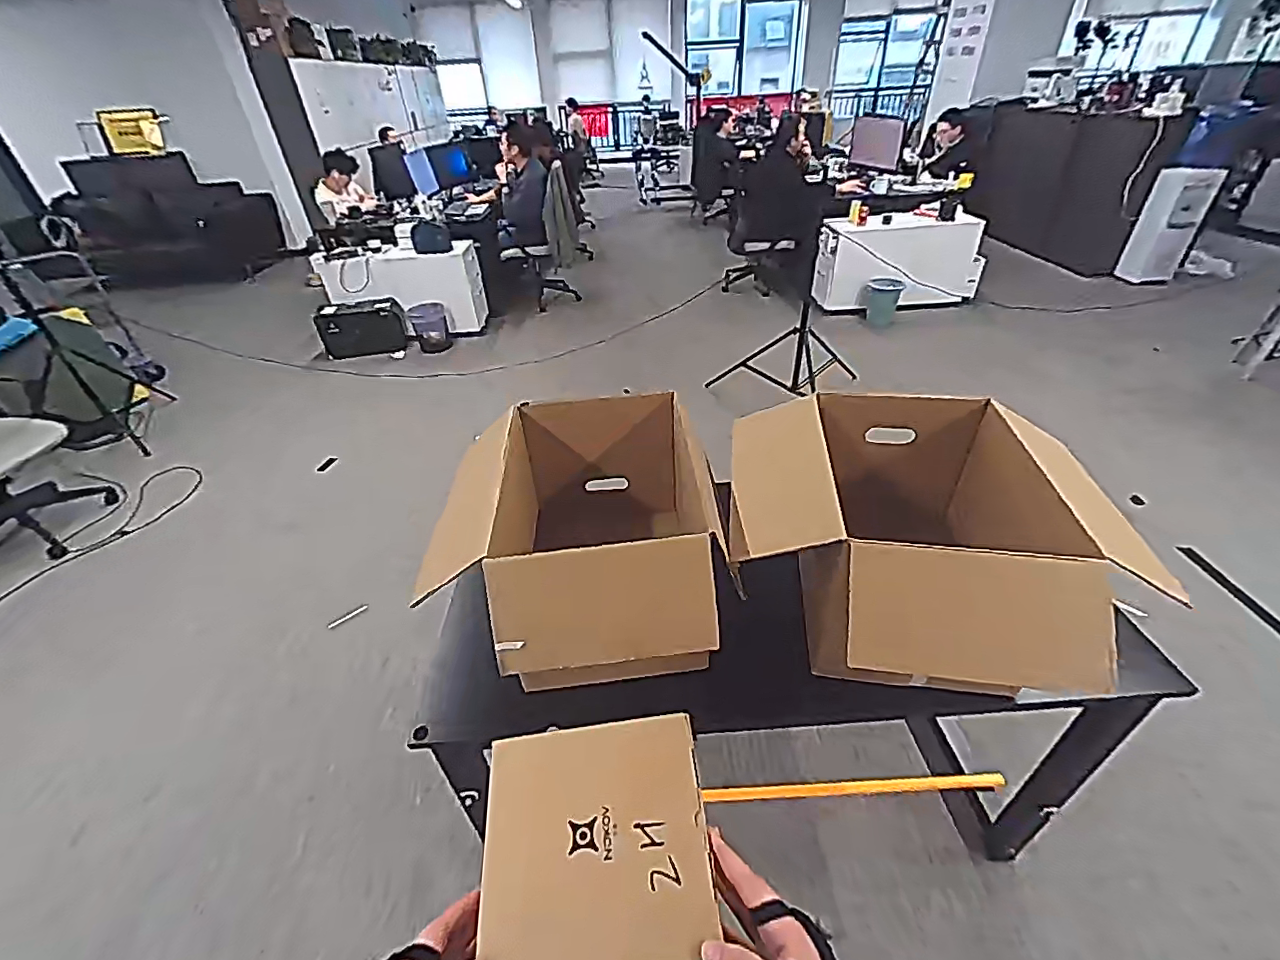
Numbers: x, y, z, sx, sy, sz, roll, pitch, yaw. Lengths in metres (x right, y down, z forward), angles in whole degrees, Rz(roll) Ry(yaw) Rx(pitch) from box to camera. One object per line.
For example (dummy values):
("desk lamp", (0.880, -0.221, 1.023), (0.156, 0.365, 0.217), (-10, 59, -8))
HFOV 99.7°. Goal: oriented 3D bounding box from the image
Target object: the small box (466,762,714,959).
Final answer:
("small box", (-0.033, 0.363, 0.464), (0.179, 0.176, 0.168), (-8, 47, 1))
